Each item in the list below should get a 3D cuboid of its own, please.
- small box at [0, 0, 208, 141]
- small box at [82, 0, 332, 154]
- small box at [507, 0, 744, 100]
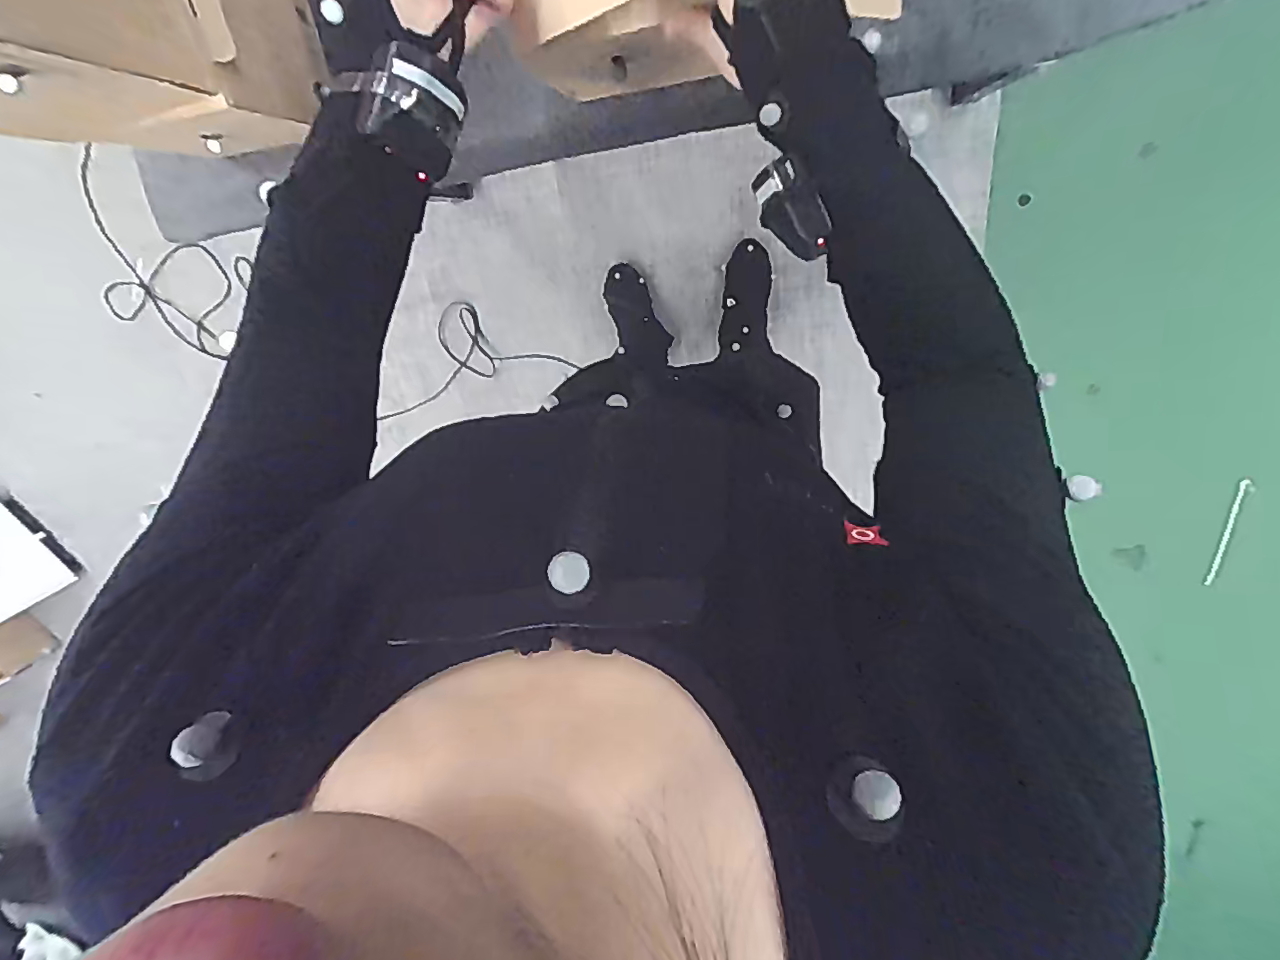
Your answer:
[{"bbox_3d":[-0.478,-0.363,0.386,0.179,0.176,0.168,-7,114,12],"label":"small box"},{"bbox_3d":[-0.439,-0.431,0.529,0.179,0.176,0.168,-3,115,11],"label":"small box"},{"bbox_3d":[-0.007,-0.441,0.451,0.179,0.176,0.168,-1,115,13],"label":"small box"}]
